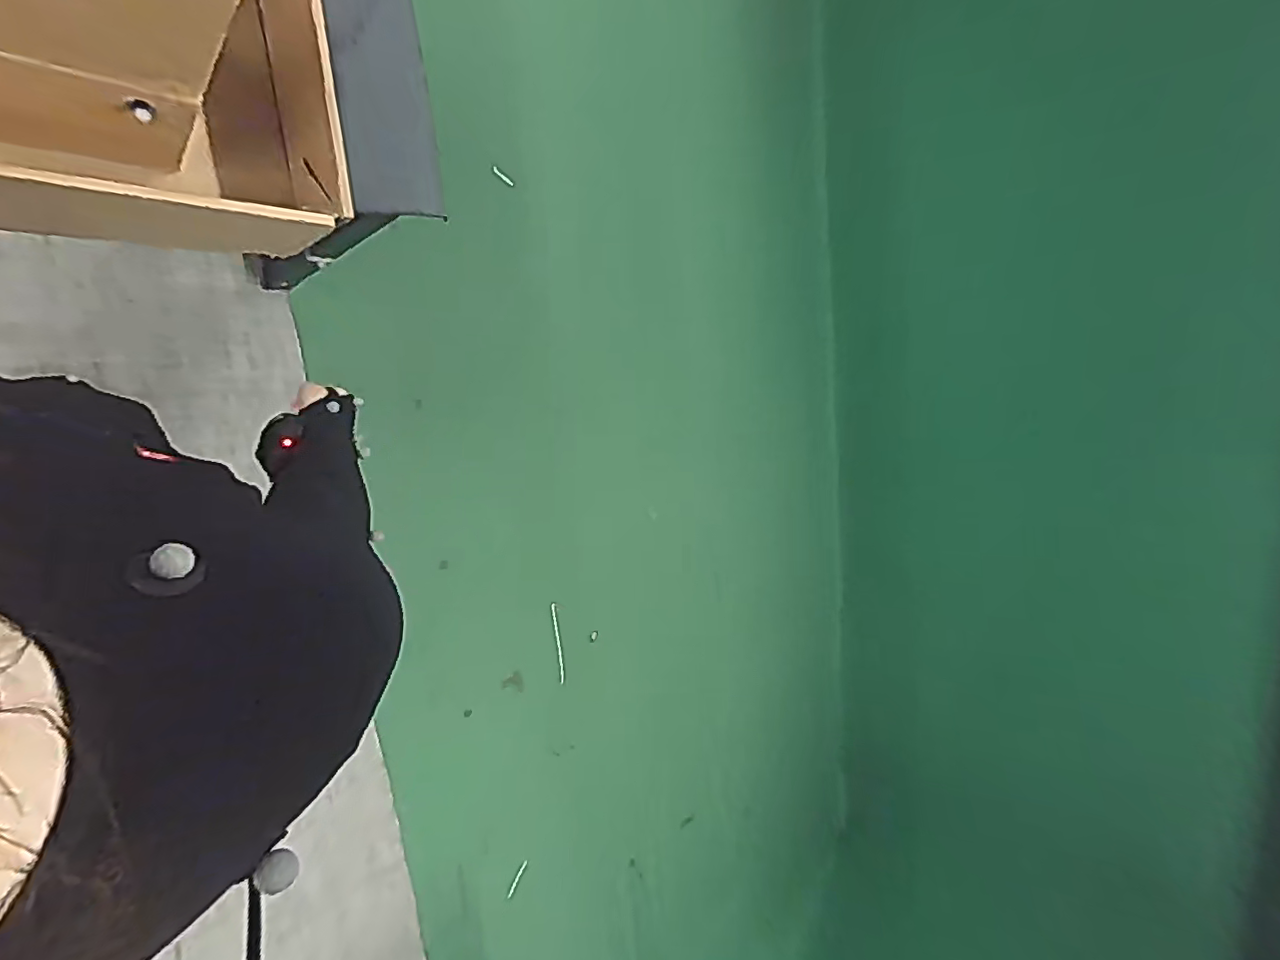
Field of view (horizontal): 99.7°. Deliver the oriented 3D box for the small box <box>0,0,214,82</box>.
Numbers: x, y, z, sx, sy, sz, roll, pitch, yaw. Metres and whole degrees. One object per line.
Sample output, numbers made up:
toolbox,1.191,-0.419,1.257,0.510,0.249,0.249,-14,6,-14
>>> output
small box,-0.394,-0.395,0.340,0.179,0.176,0.168,-16,105,-47
